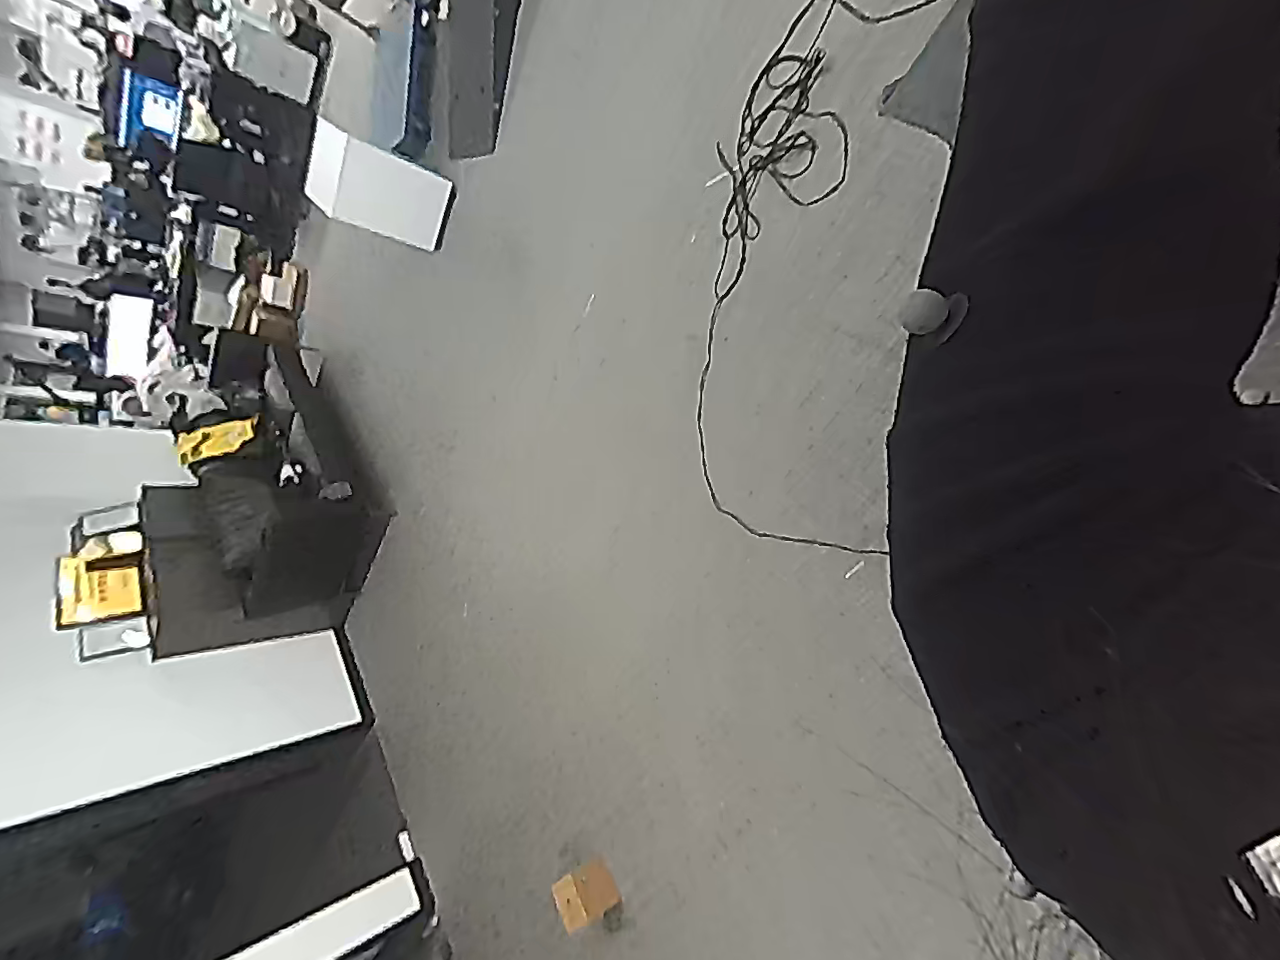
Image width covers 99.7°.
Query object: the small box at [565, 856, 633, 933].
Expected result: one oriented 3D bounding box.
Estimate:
[{"bbox_3d":[-0.161,1.633,2.144,0.168,0.176,0.179,-52,57,29],"label":"small box"}]
